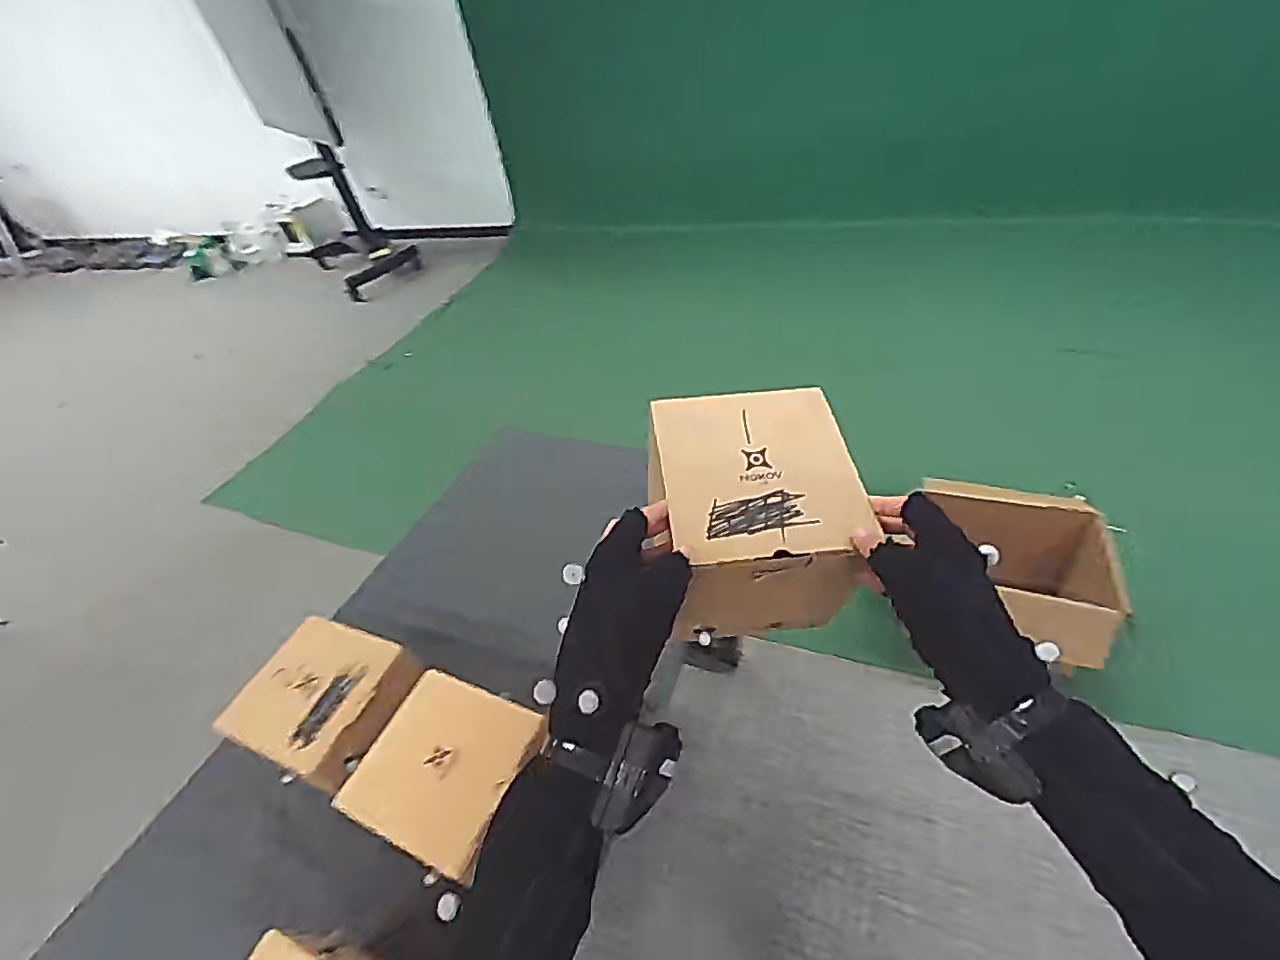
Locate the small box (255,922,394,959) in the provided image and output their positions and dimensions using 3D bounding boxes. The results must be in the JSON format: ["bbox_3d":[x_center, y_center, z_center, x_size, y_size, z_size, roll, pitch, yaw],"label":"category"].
[{"bbox_3d":[-0.280,0.543,0.484,0.179,0.176,0.168,10,48,21],"label":"small box"}]
